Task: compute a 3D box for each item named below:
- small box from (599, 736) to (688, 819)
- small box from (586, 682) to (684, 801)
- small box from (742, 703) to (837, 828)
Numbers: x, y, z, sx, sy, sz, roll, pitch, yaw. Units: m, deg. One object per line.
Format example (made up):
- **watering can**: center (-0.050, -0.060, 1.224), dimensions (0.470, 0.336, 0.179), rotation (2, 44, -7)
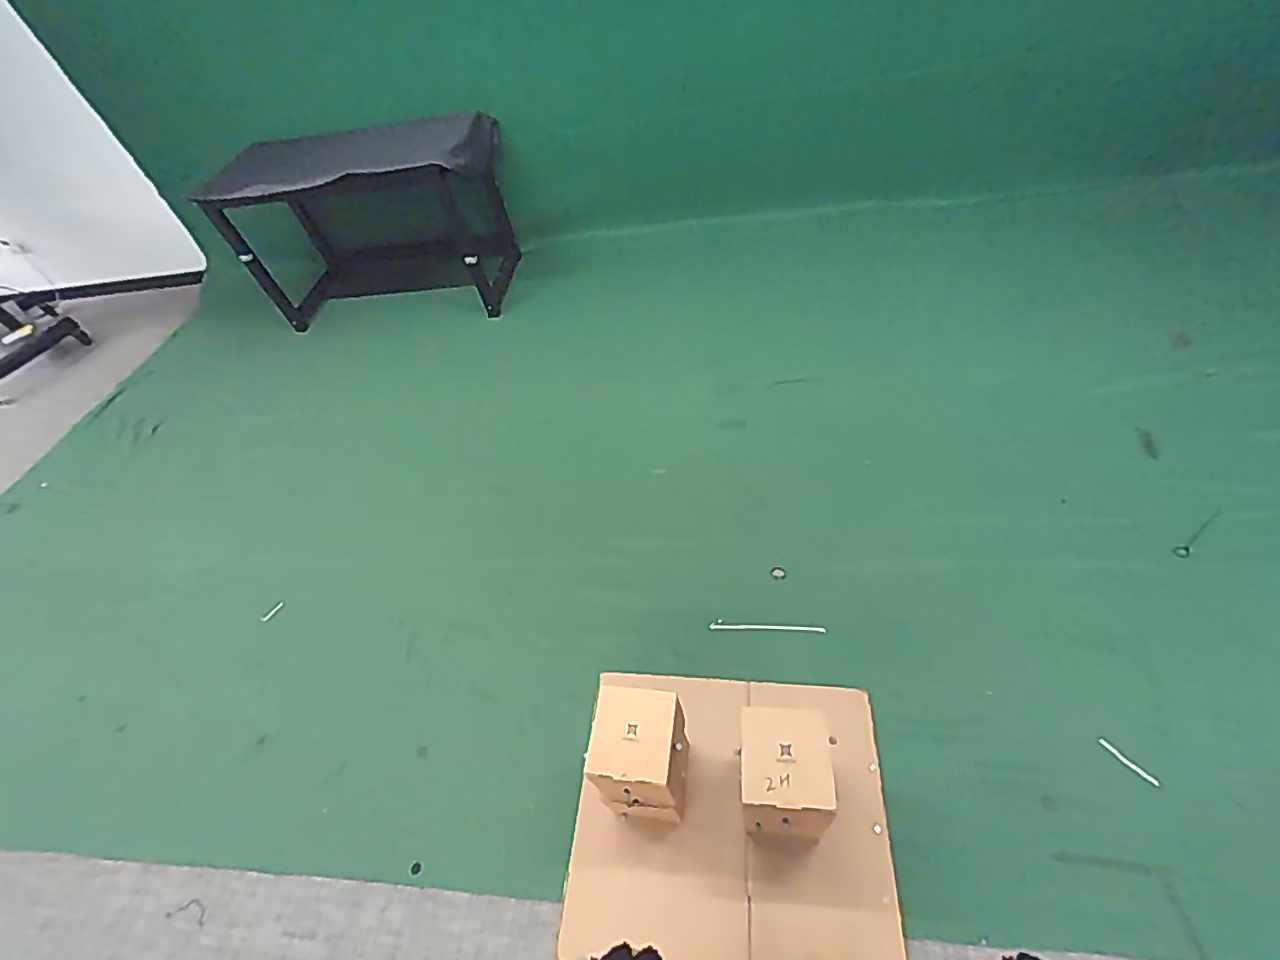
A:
- **small box**: center (0.018, 0.664, 1.249), dimensions (0.168, 0.176, 0.179), rotation (0, 49, 13)
- **small box**: center (-0.001, 0.550, 1.134), dimensions (0.168, 0.176, 0.179), rotation (2, 50, 13)
- **small box**: center (0.285, 0.561, 1.064), dimensions (0.168, 0.176, 0.179), rotation (-1, 49, 11)
